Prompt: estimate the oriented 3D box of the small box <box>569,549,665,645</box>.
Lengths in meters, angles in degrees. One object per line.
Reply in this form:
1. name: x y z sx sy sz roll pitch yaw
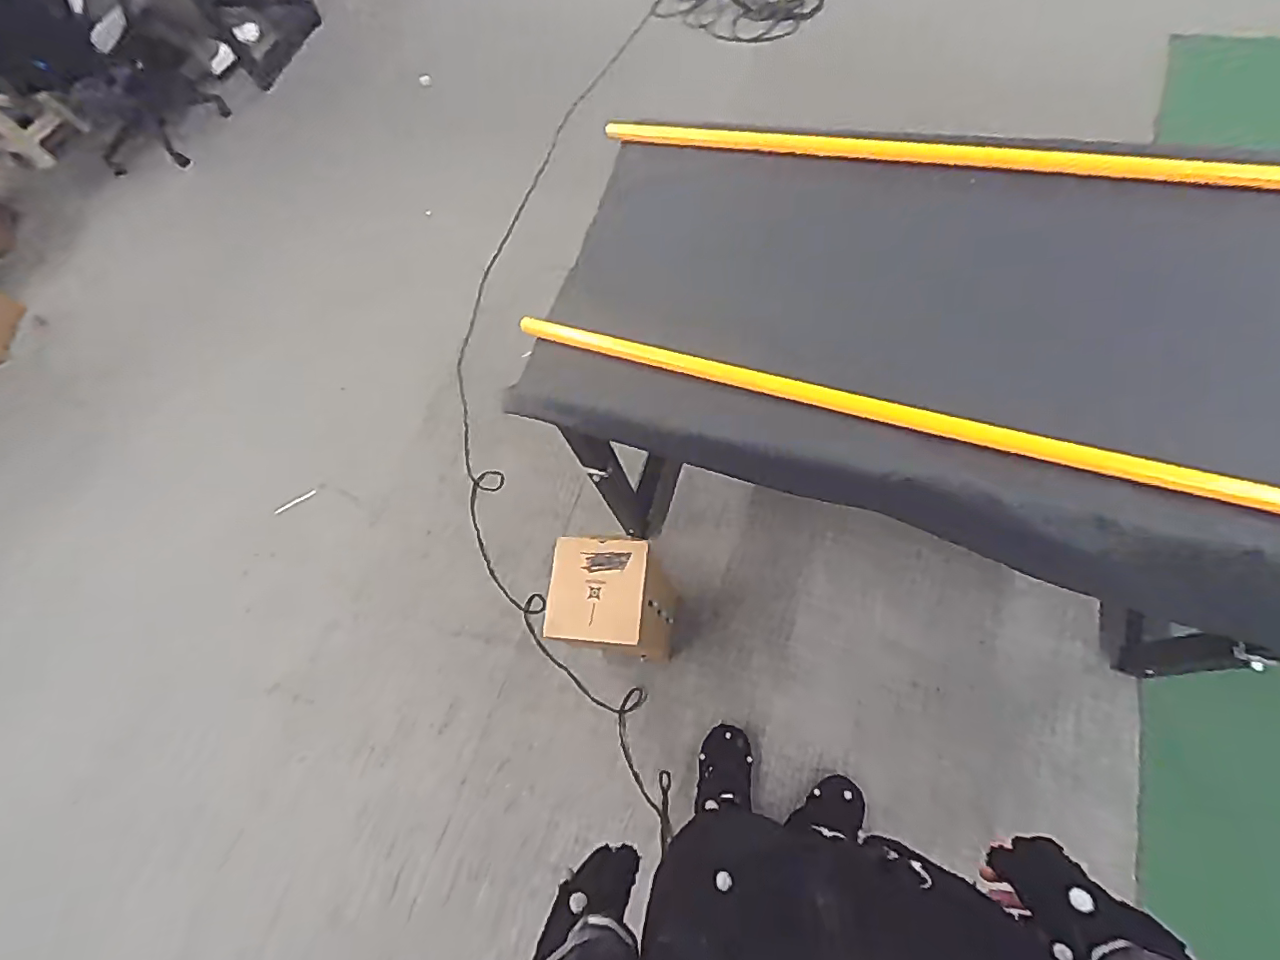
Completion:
1. small box: -0.040 0.252 1.148 0.168 0.176 0.179 -2 67 12
